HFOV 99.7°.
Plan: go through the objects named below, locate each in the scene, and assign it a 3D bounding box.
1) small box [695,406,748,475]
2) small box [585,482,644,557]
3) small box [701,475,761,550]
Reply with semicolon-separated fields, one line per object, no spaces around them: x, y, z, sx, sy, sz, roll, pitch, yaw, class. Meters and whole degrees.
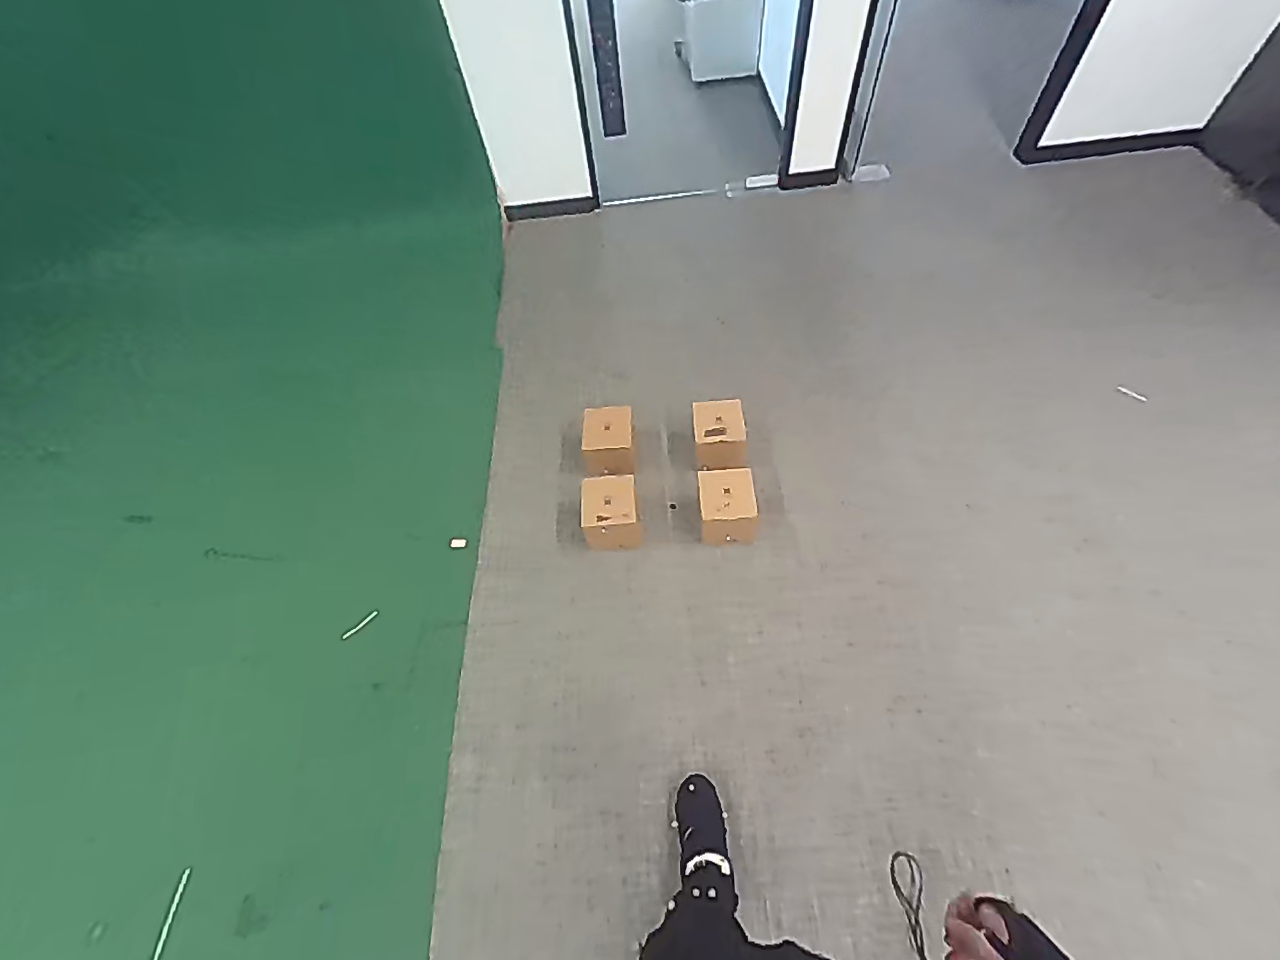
0.276;-0.129;1.848;0.168;0.176;0.179;-3;56;4;small box
-0.078;0.127;1.721;0.168;0.176;0.179;-5;55;4;small box
0.279;0.104;1.696;0.168;0.176;0.179;-4;57;5;small box
